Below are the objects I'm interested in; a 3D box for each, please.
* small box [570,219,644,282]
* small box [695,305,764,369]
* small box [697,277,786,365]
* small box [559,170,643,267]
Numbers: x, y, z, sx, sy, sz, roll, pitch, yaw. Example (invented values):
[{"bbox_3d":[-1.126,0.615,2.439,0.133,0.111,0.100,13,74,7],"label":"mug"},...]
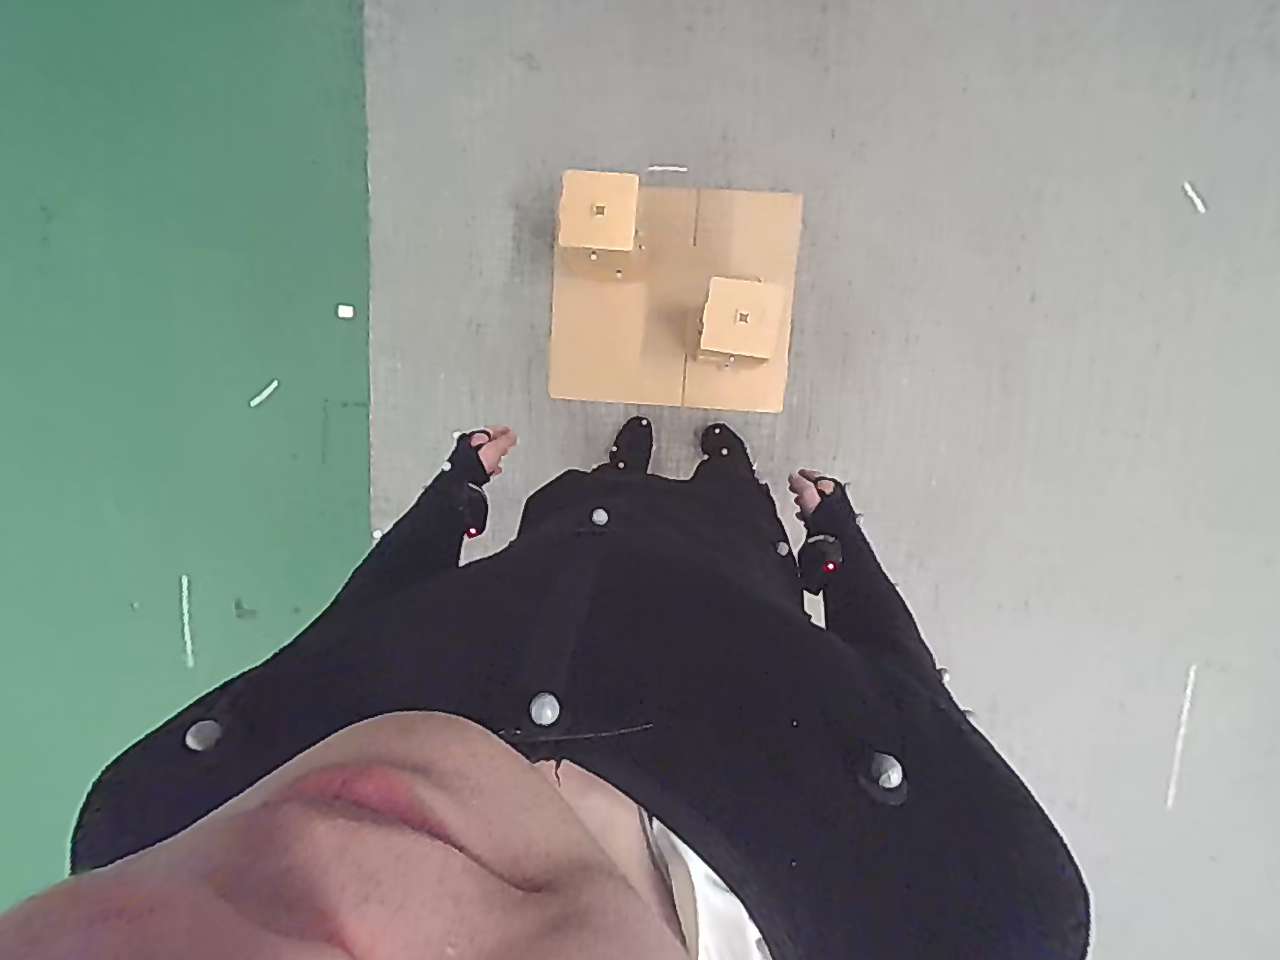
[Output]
[{"bbox_3d":[-0.084,-0.642,1.461,0.179,0.176,0.168,6,98,3],"label":"small box"},{"bbox_3d":[0.249,-0.397,1.477,0.179,0.176,0.168,7,98,3],"label":"small box"},{"bbox_3d":[0.238,-0.378,1.315,0.179,0.176,0.168,10,99,3],"label":"small box"},{"bbox_3d":[-0.088,-0.619,1.301,0.179,0.176,0.168,6,99,3],"label":"small box"}]
